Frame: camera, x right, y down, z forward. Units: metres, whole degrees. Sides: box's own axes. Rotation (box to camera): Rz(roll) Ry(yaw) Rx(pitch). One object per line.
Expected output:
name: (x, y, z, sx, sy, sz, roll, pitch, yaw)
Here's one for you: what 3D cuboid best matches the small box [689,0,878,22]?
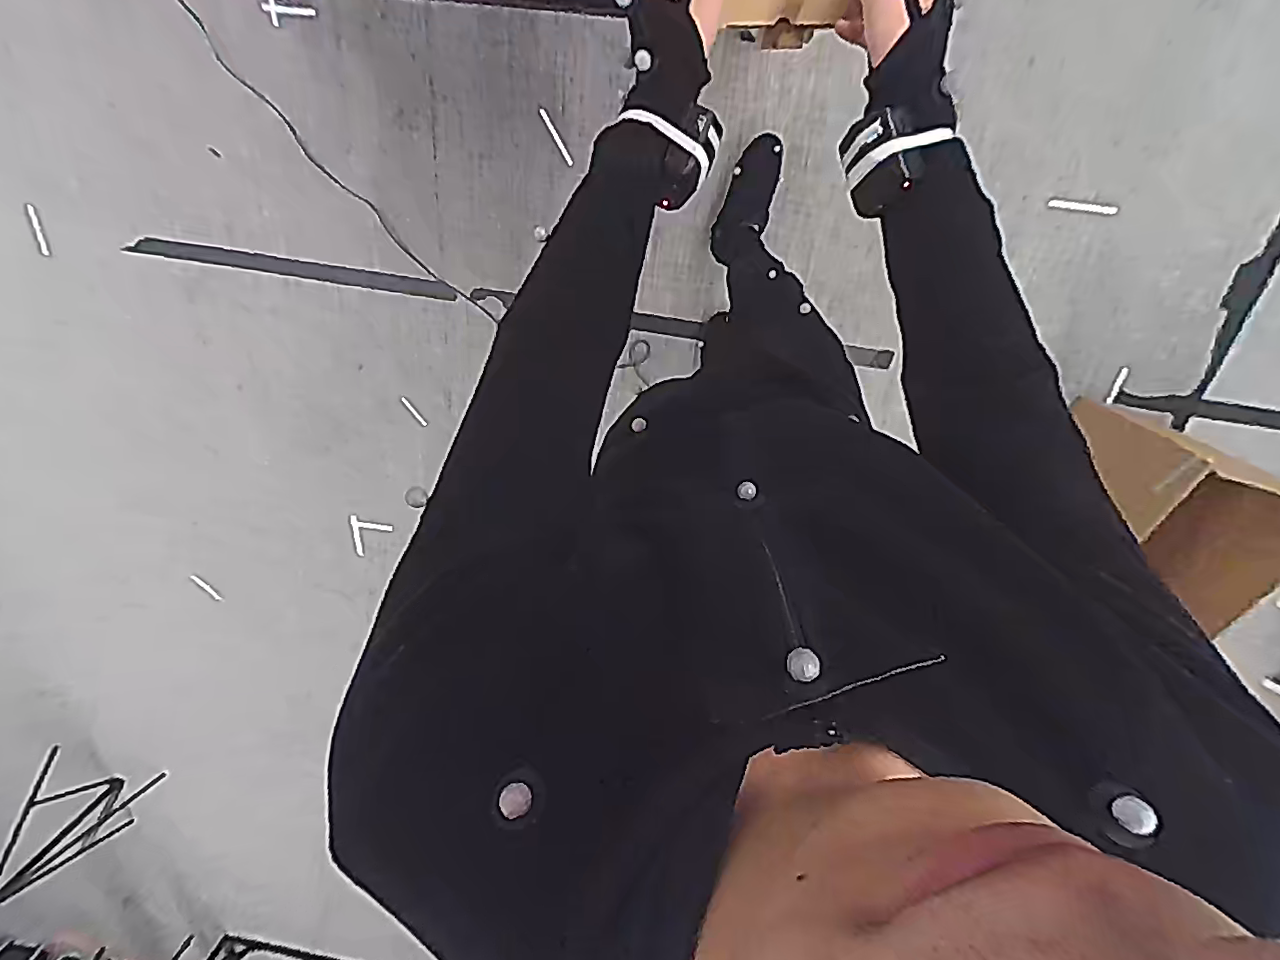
small box: (0.132, -0.528, 0.479, 0.168, 0.176, 0.179, 2, 133, 3)
